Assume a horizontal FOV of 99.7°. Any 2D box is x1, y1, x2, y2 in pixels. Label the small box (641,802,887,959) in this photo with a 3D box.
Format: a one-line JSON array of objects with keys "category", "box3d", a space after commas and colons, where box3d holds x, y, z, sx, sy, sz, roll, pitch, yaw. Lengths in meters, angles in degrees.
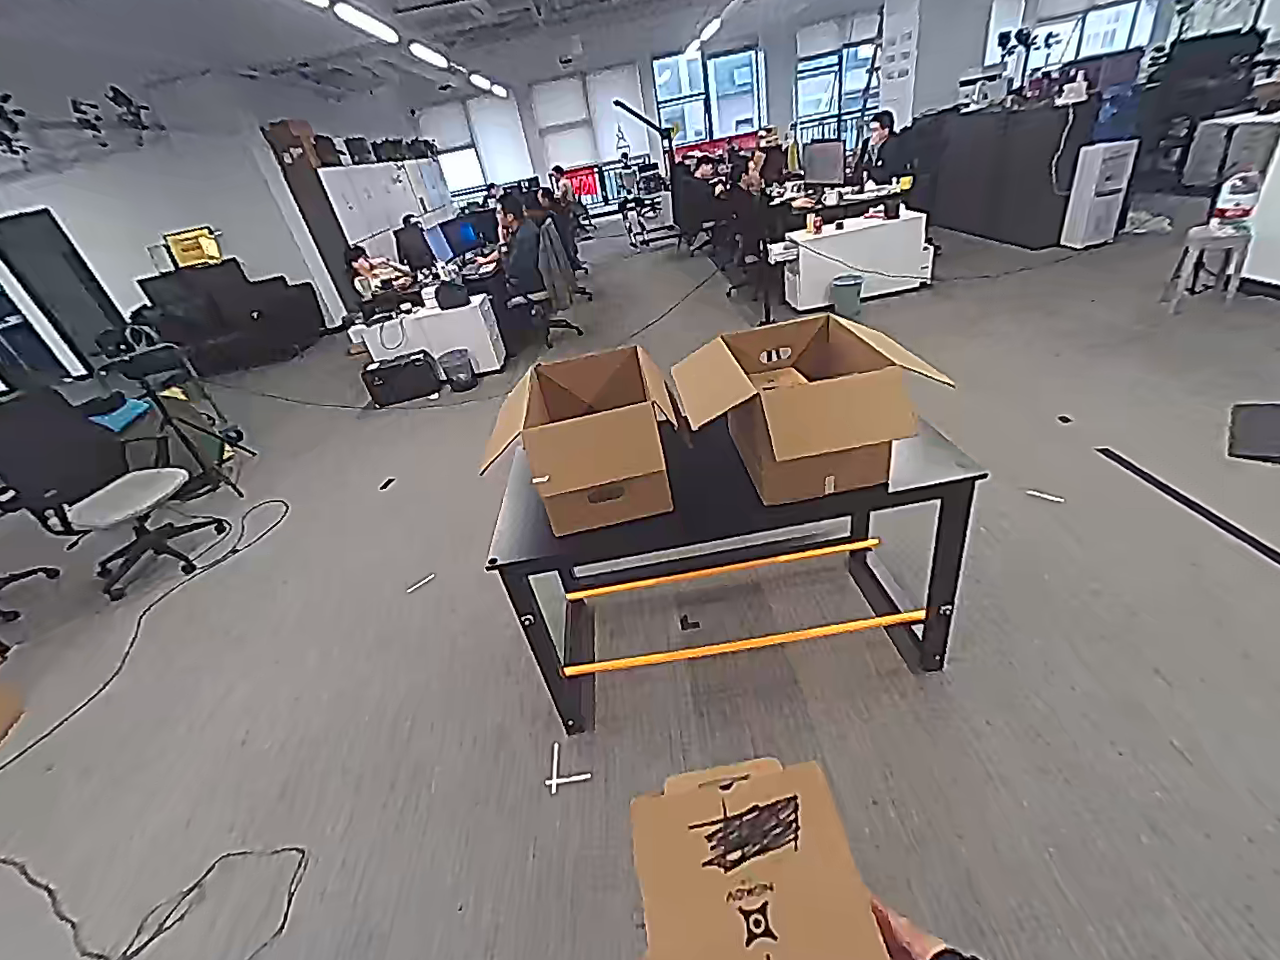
[{"category": "small box", "box3d": [0.099, 0.396, 0.443, 0.168, 0.176, 0.179, -11, 47, -2]}]
